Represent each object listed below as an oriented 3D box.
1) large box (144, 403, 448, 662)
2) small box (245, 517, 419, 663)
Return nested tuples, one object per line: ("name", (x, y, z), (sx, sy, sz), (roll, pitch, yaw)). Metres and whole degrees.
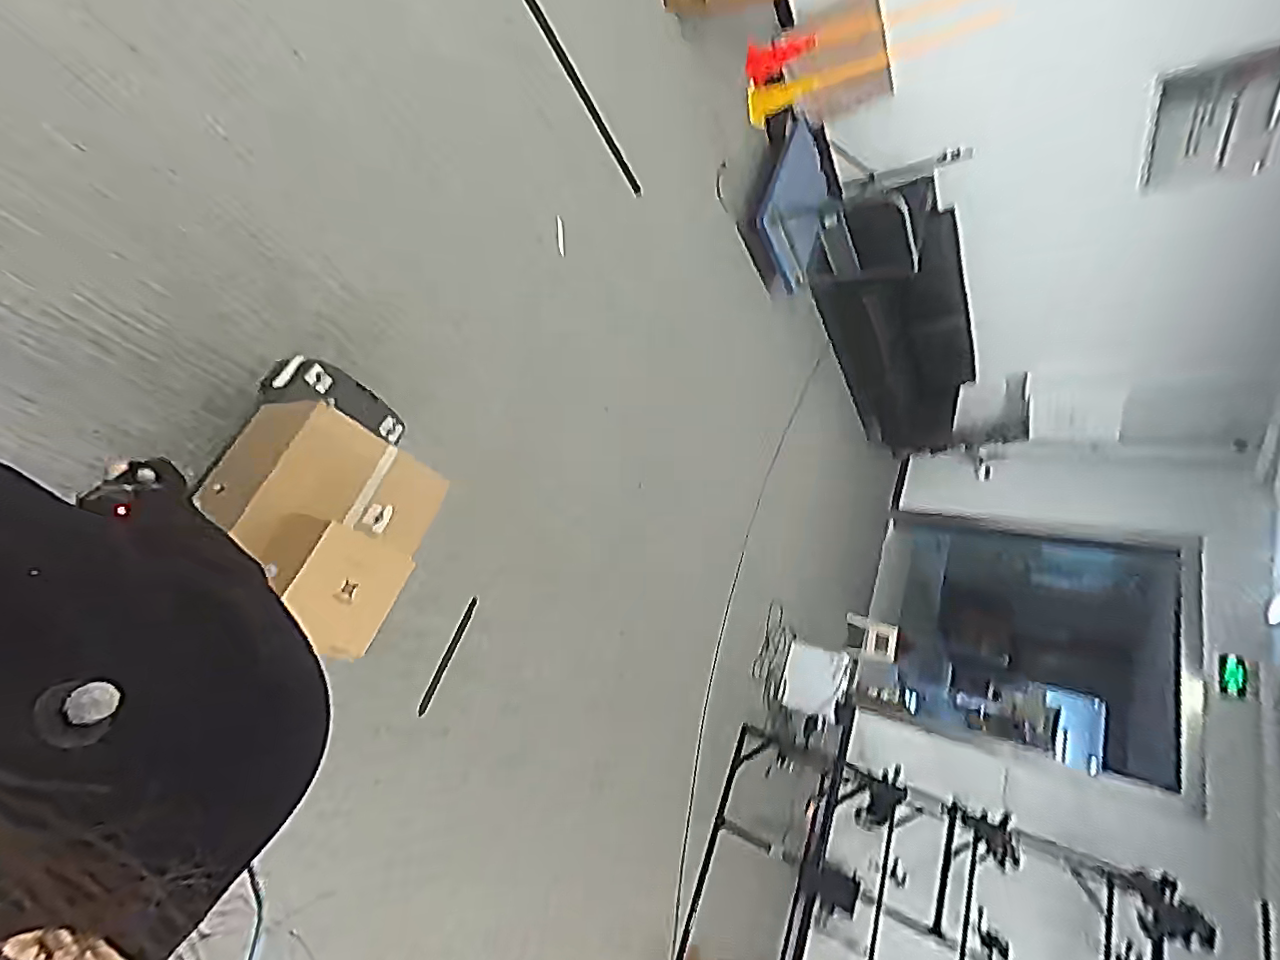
("large box", (-0.676, 0.102, 1.092), (0.320, 0.320, 0.408), (44, 59, -45))
("small box", (-0.517, 0.178, 0.903), (0.168, 0.176, 0.179), (46, 58, -43))
